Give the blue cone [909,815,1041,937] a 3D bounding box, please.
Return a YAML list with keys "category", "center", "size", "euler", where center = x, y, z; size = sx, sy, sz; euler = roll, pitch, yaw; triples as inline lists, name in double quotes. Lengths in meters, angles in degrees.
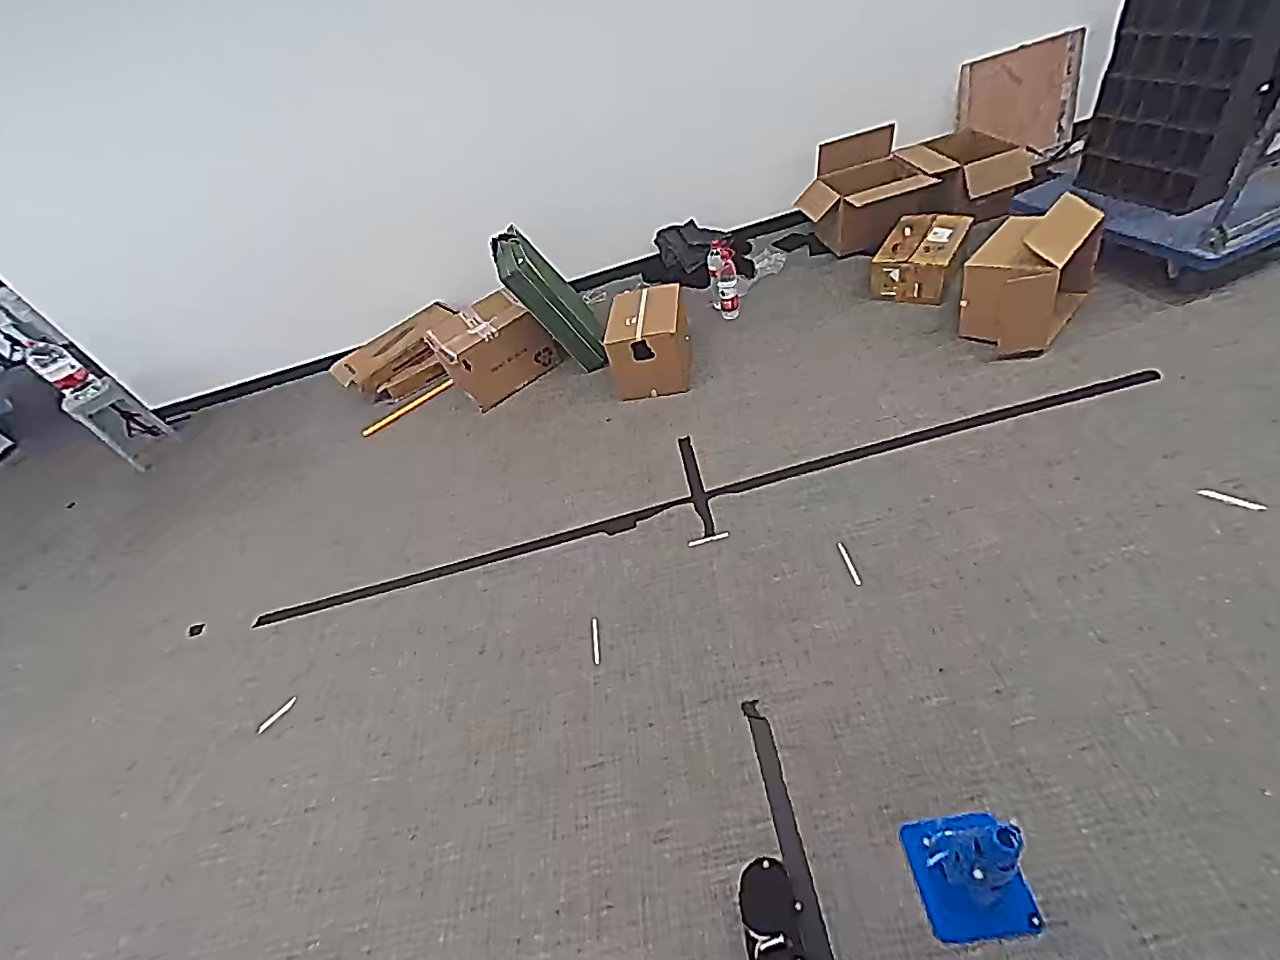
- category: "blue cone"
  center: [0.620, 0.678, 0.967]
  size: [0.192, 0.380, 0.193]
  euler: [-11, 45, 7]
